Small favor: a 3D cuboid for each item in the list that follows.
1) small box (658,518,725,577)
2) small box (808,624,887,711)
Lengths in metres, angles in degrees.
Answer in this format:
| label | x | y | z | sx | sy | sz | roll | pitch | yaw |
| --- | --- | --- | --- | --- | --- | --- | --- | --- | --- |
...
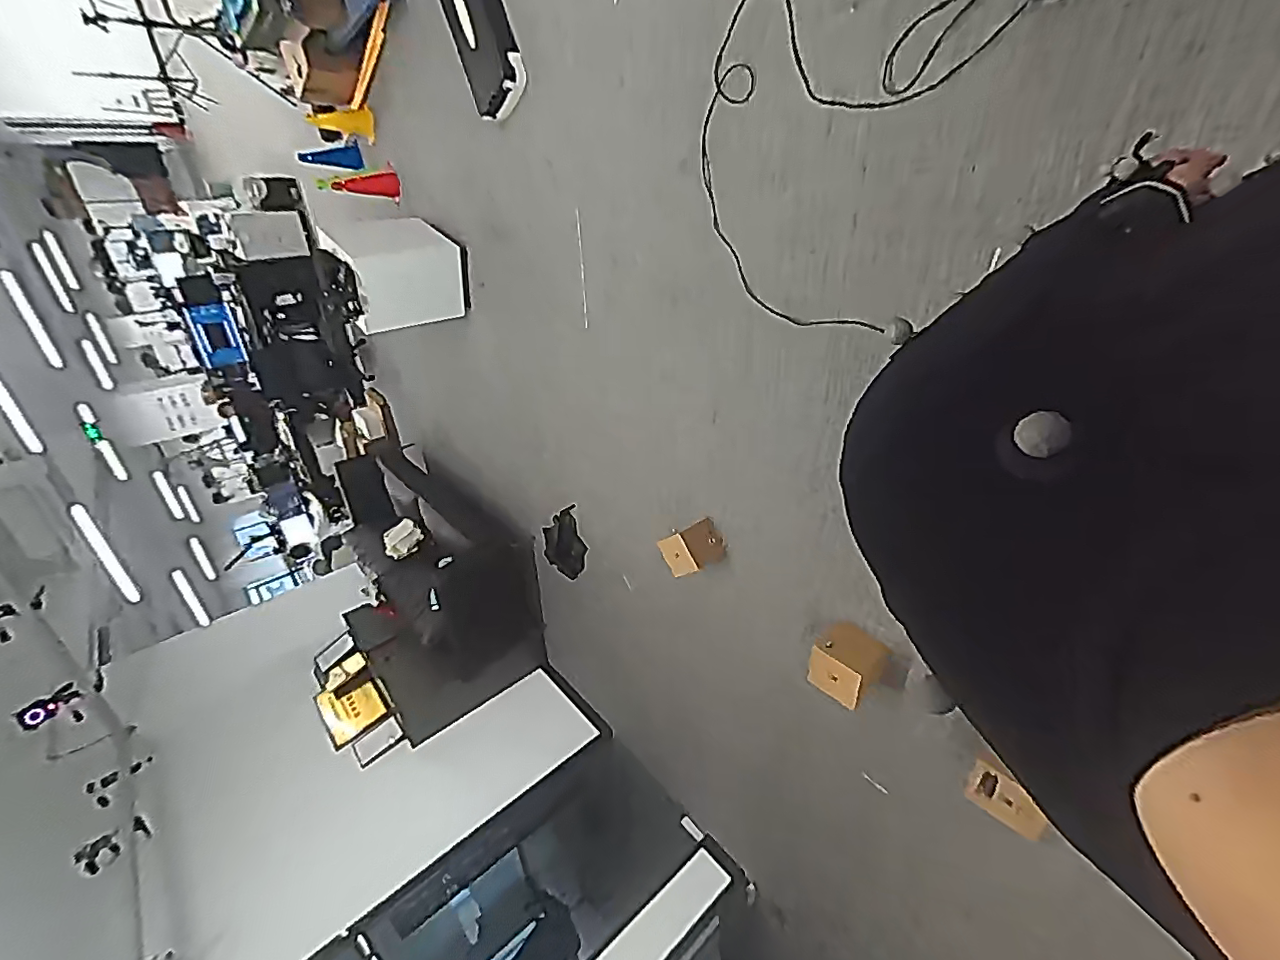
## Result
| label | x | y | z | sx | sy | sz | roll | pitch | yaw |
| --- | --- | --- | --- | --- | --- | --- | --- | --- | --- |
| small box | 0.211 | 0.275 | 2.201 | 0.168 | 0.176 | 0.179 | 61 | 145 | 4 |
| small box | 0.679 | 0.604 | 1.770 | 0.179 | 0.176 | 0.168 | 27 | 131 | 43 |
